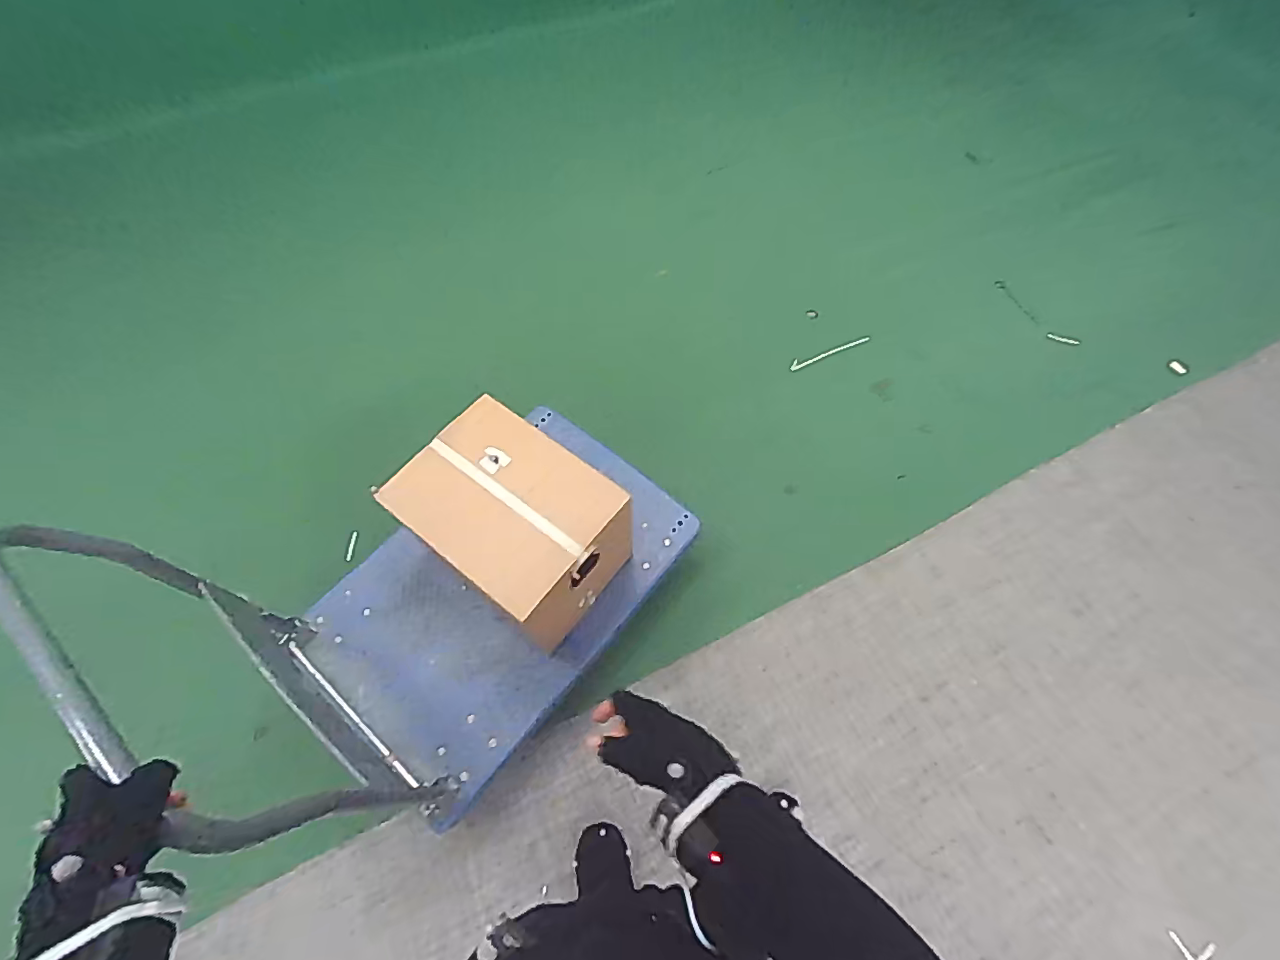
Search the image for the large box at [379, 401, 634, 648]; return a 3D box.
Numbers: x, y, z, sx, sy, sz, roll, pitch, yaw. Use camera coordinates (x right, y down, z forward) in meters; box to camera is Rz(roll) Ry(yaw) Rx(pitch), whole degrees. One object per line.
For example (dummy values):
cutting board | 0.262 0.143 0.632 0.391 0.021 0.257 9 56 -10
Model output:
large box | -0.264 0.105 1.192 0.408 0.320 0.320 34 67 18
